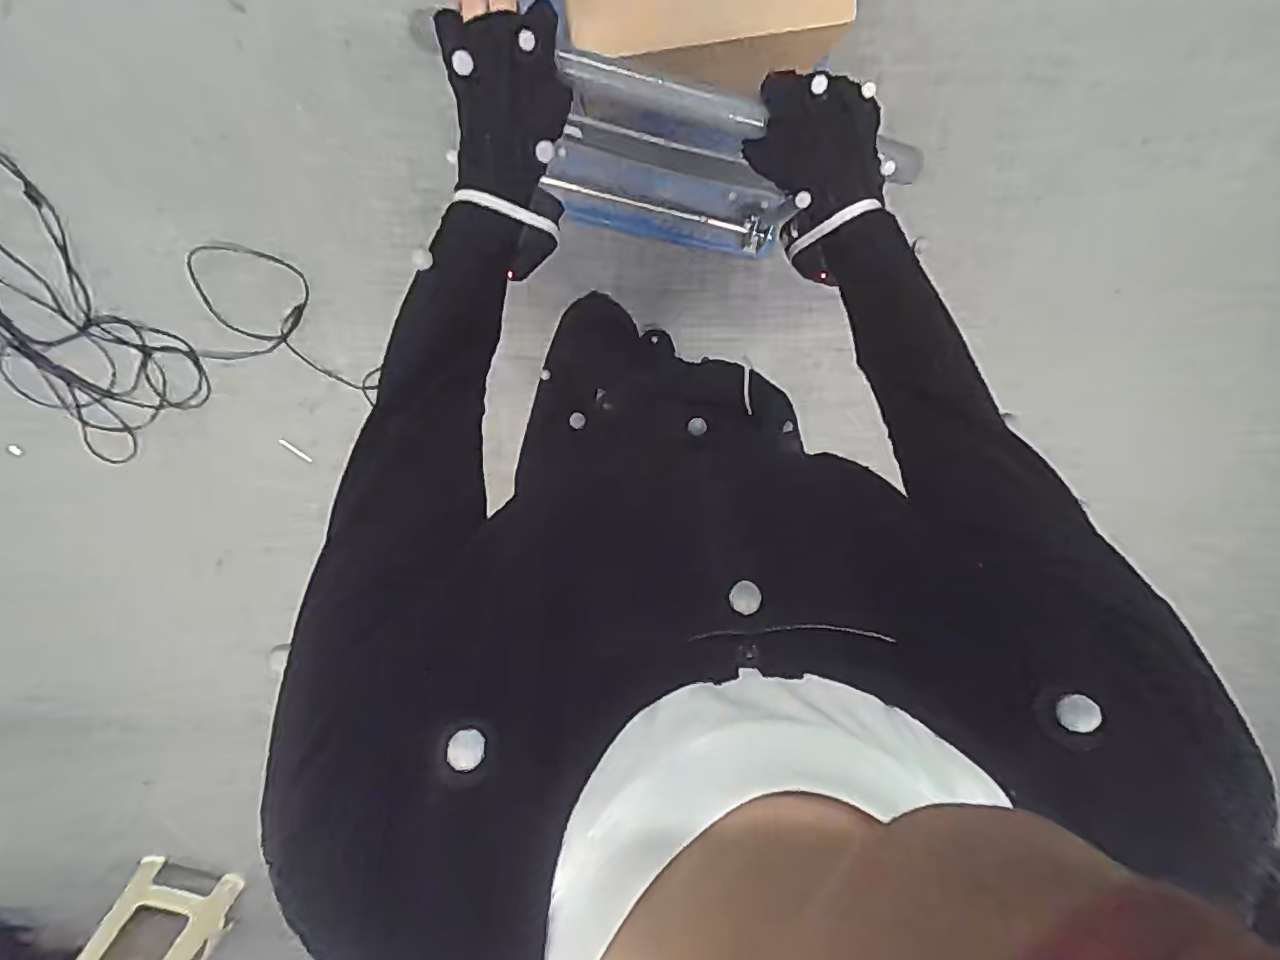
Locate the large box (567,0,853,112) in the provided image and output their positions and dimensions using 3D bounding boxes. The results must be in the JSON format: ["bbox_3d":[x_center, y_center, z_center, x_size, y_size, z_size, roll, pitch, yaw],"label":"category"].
[{"bbox_3d":[0.085,-0.824,0.855,0.408,0.320,0.320,-7,110,2],"label":"large box"}]
